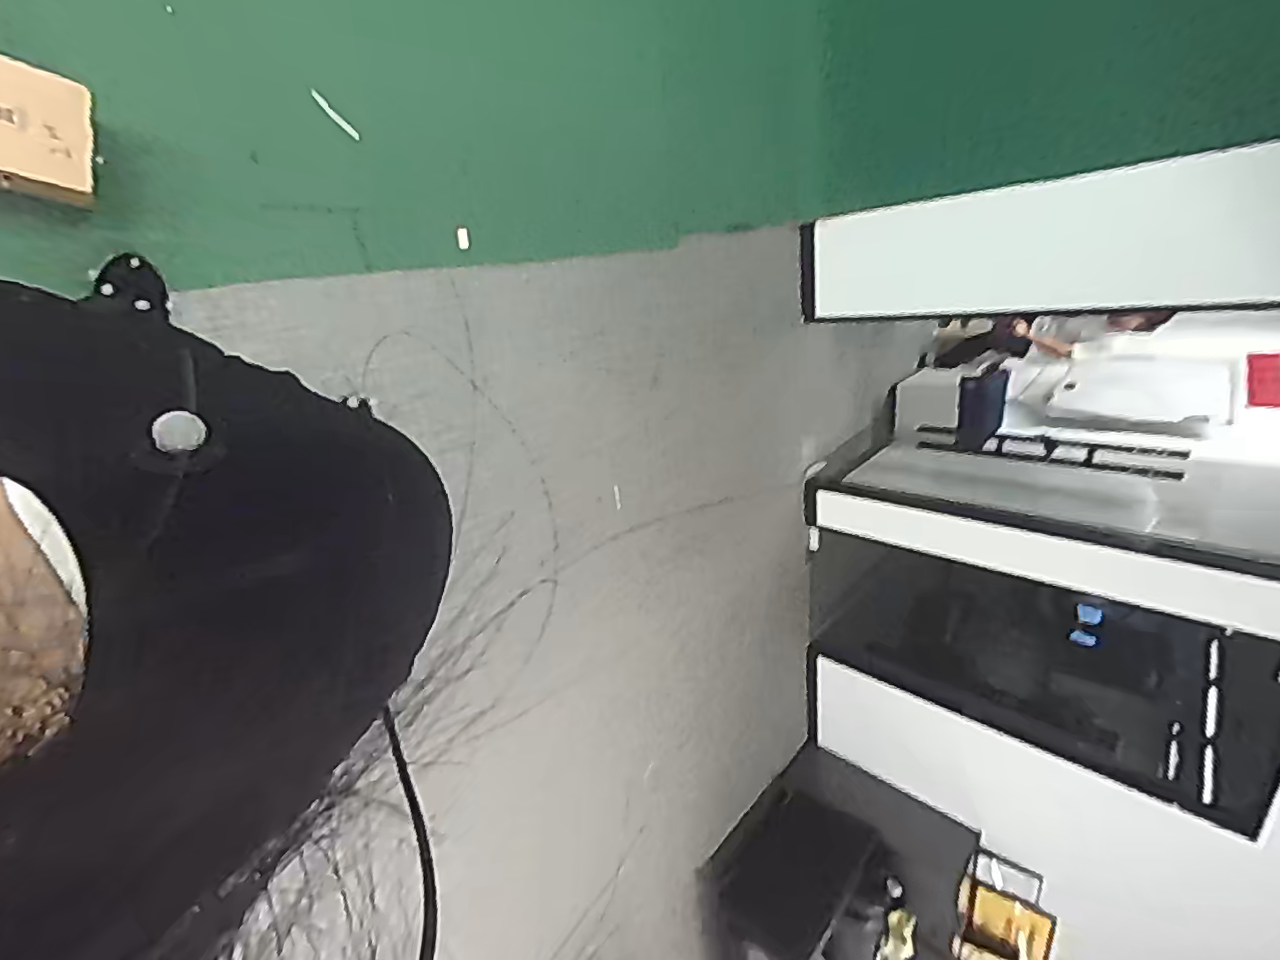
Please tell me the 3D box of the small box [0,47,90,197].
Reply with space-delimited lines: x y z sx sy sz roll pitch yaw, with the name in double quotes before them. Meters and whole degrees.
"small box" -1.018 -0.580 0.874 0.179 0.176 0.168 -1 102 -47
